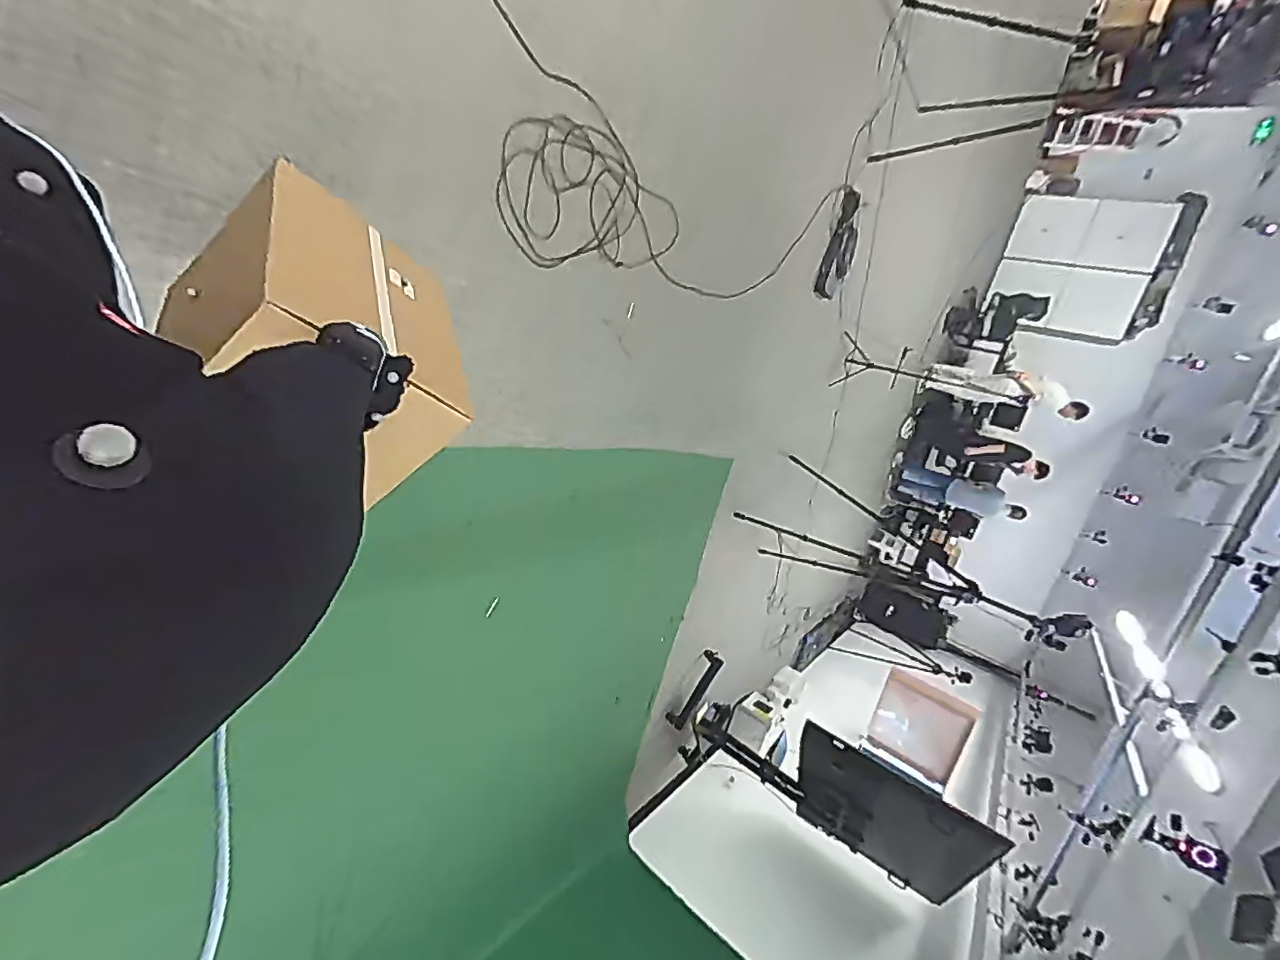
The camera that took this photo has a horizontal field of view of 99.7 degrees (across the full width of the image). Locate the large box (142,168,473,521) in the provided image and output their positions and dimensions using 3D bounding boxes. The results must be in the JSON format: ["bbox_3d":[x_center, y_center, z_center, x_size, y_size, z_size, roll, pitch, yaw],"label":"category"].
[{"bbox_3d":[-0.529,-0.204,0.887,0.320,0.408,0.320,-36,143,14],"label":"large box"}]
